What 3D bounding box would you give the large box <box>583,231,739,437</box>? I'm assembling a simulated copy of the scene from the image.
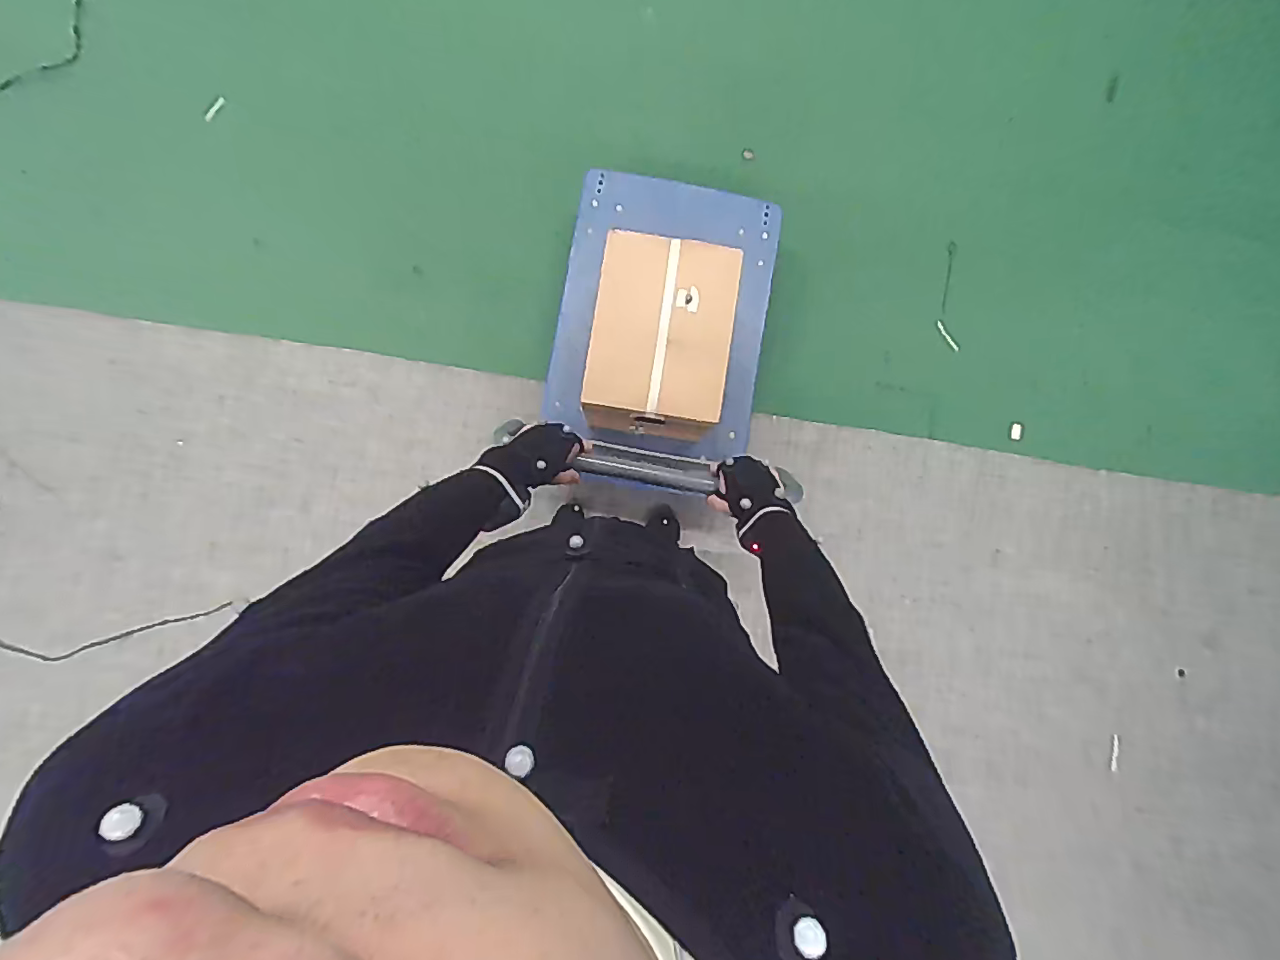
[{"bbox_3d":[0.045,-0.340,1.364,0.320,0.320,0.408,9,86,-2],"label":"large box"}]
